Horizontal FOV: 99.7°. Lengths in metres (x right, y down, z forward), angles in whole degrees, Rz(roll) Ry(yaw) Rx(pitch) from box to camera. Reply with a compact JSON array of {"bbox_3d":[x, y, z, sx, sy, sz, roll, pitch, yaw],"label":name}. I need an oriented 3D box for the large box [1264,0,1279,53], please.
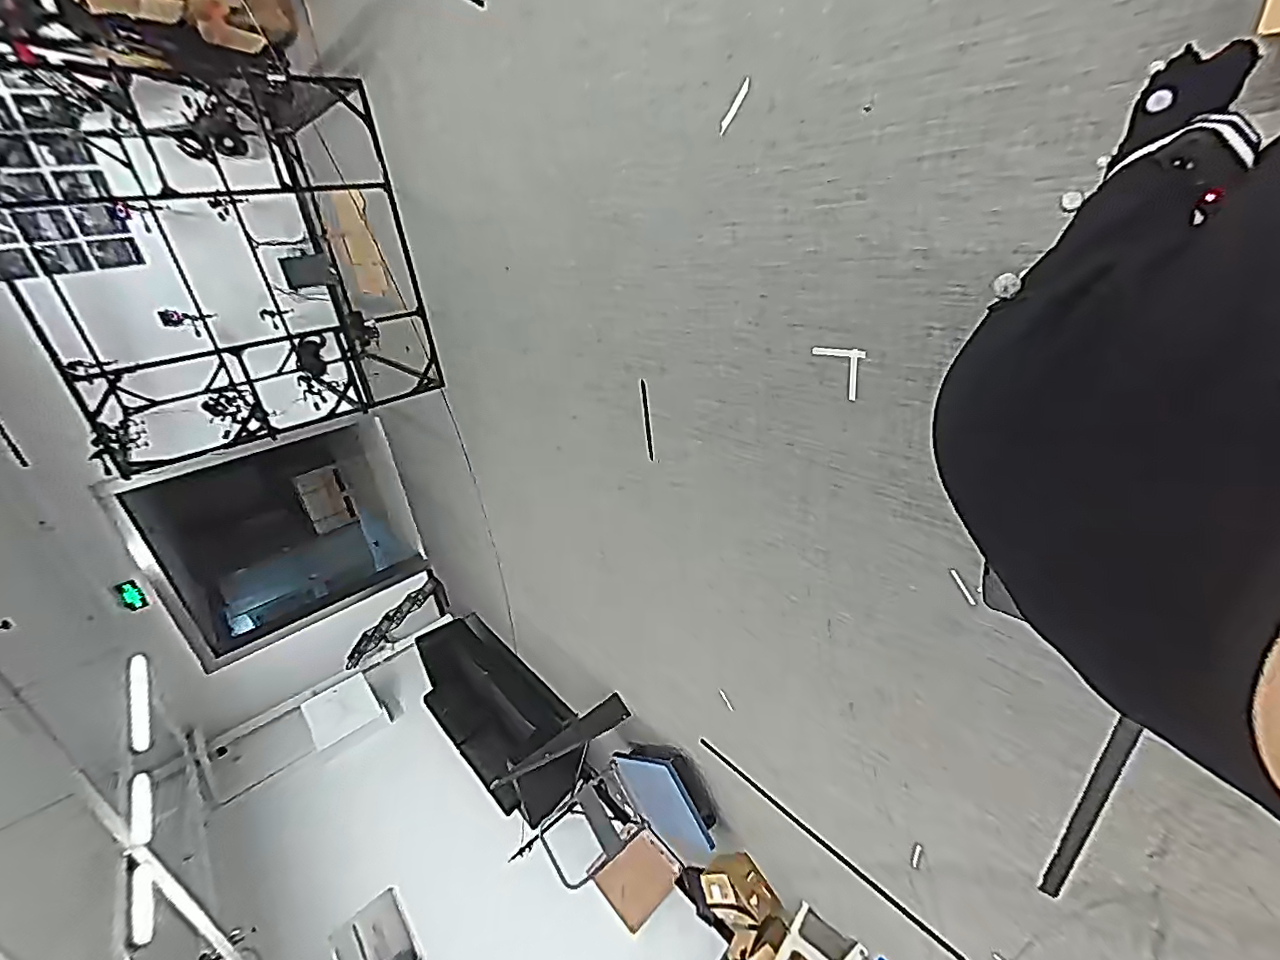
[{"bbox_3d":[1.030,-0.715,0.583,0.408,0.320,0.320,22,129,43],"label":"large box"}]
